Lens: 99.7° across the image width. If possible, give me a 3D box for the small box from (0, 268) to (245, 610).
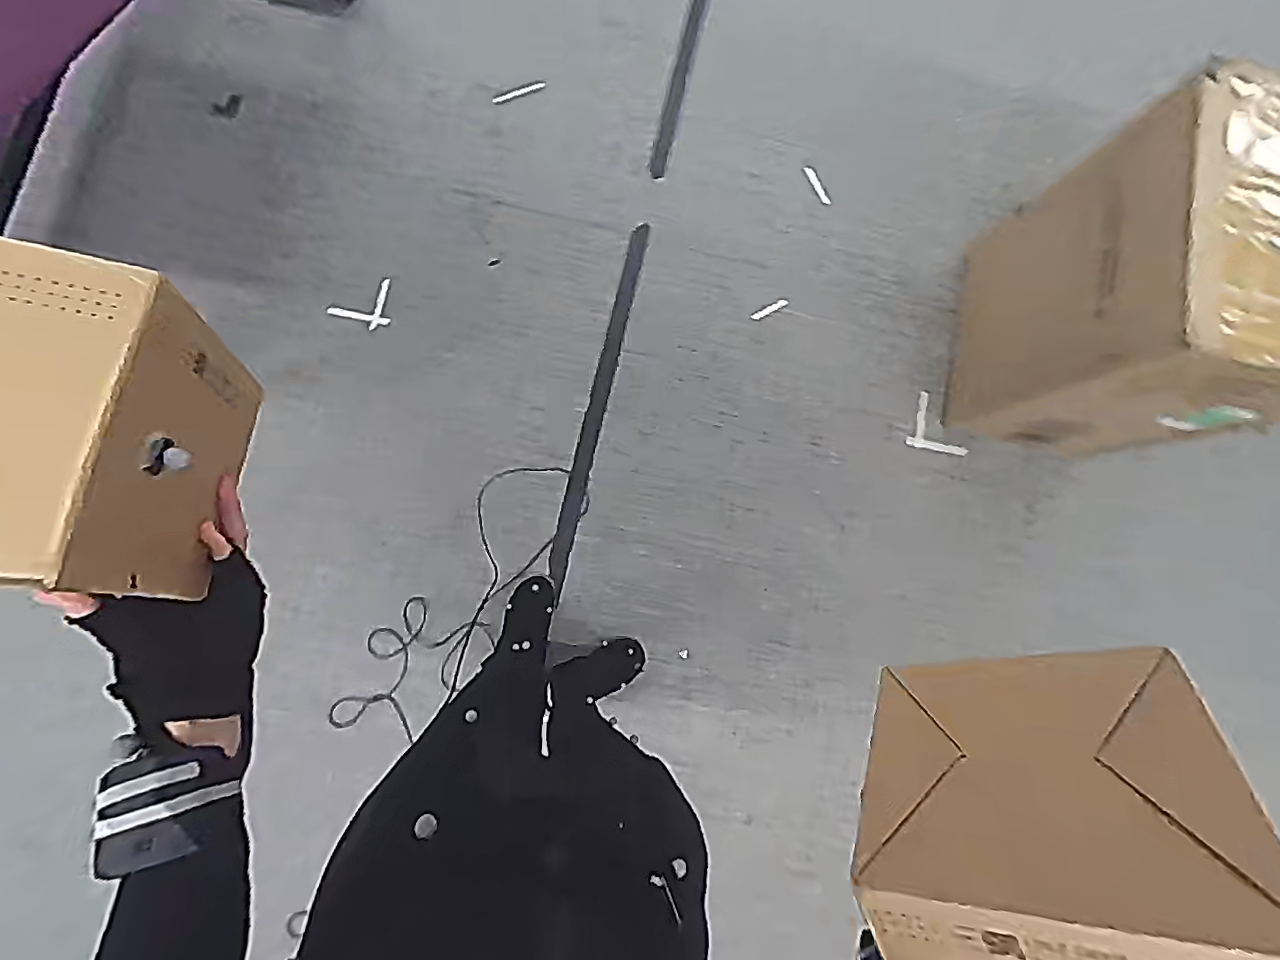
[{"bbox_3d":[-0.368,-0.018,0.319,0.179,0.168,0.176,8,71,-15],"label":"small box"}]
